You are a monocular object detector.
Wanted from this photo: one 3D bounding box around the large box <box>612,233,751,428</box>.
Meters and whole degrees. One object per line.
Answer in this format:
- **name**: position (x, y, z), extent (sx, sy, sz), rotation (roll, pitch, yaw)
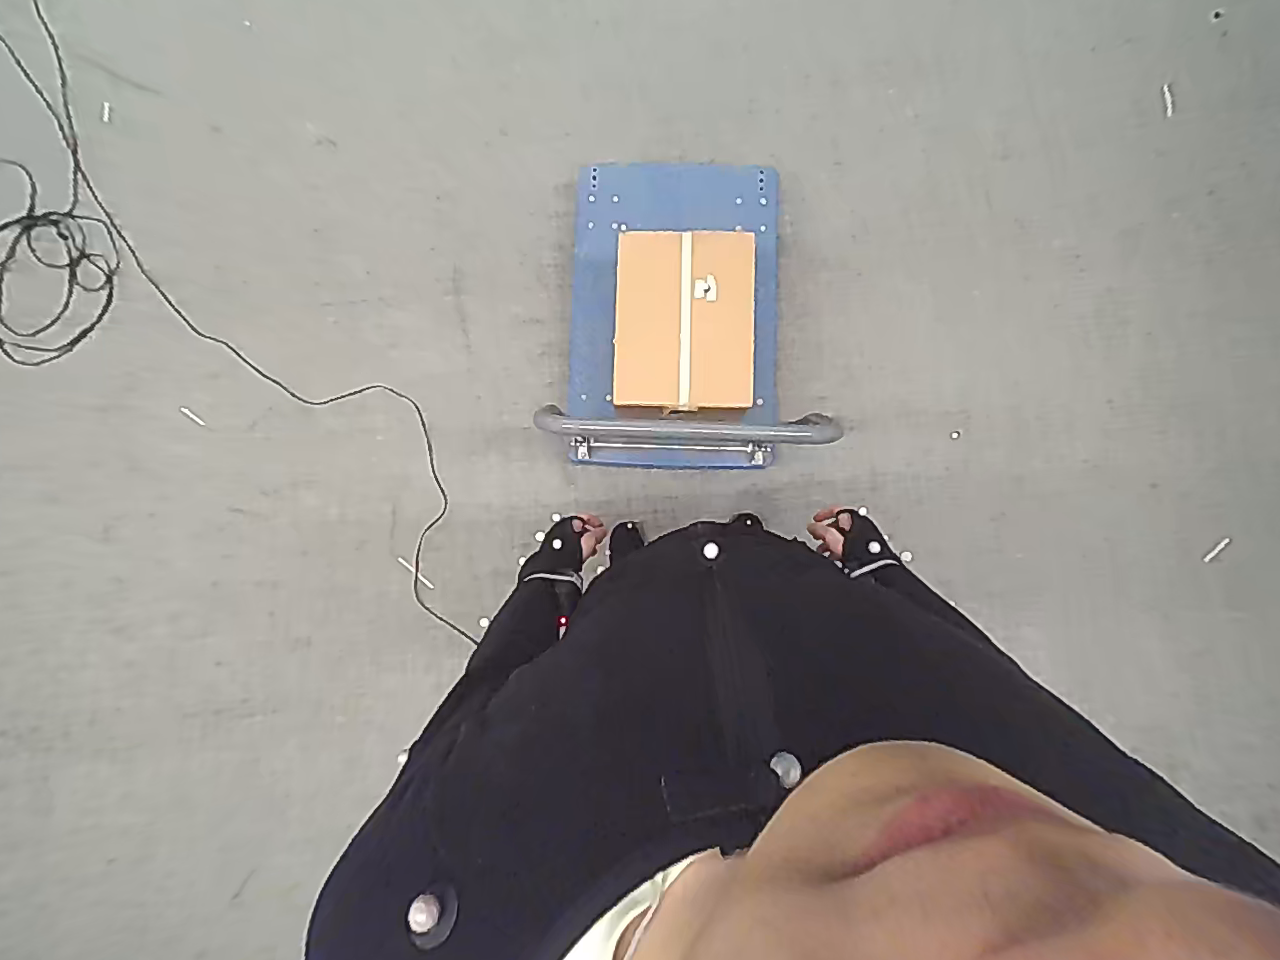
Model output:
- **large box**: position (0.100, -0.353, 1.373), extent (0.320, 0.320, 0.408), rotation (1, 85, 1)
